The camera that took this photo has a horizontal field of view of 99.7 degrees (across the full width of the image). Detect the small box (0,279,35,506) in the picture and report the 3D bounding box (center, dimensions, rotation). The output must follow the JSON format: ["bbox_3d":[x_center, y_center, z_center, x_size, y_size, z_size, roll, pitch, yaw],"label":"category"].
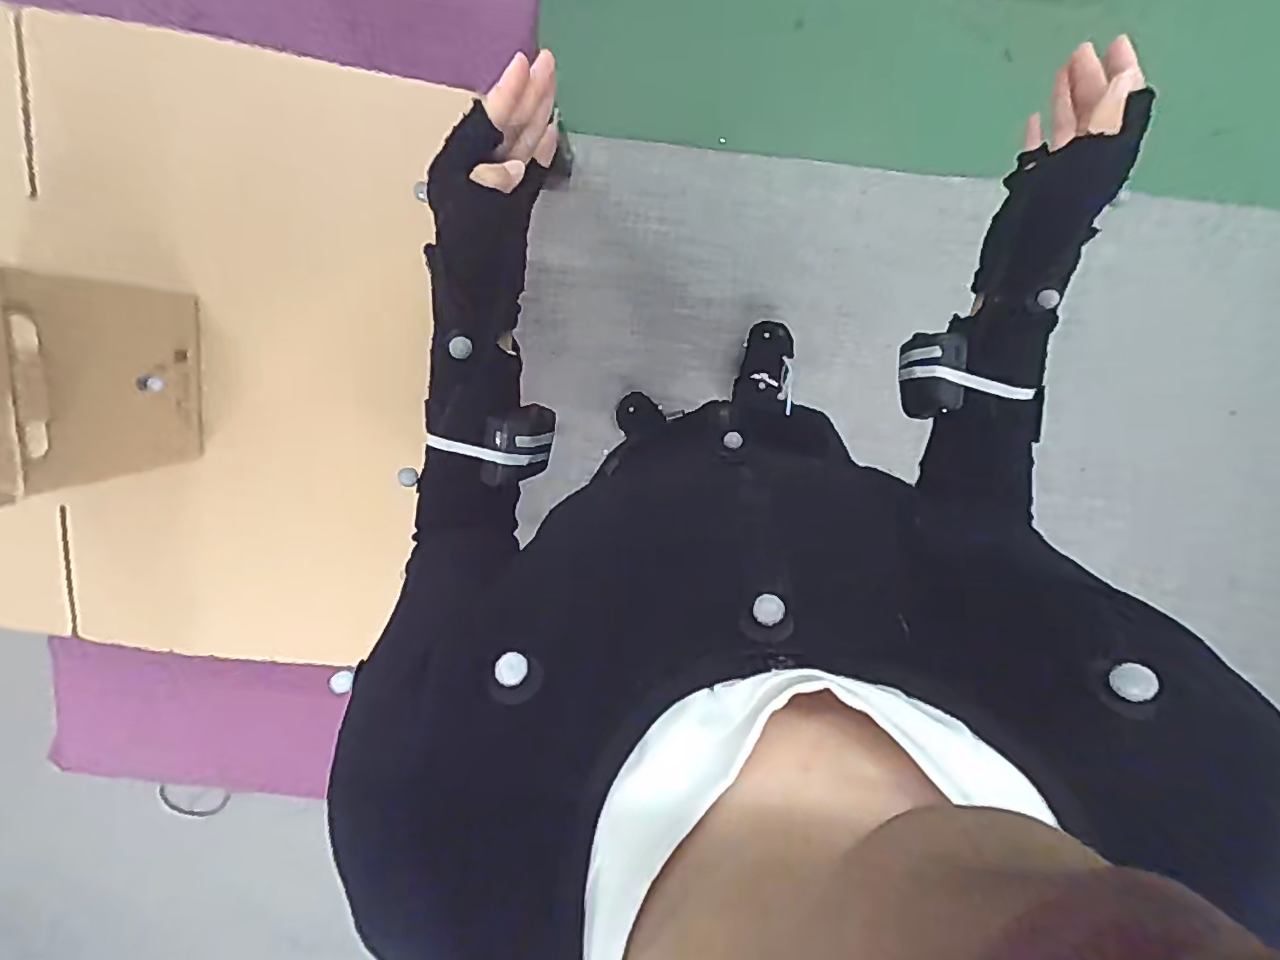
[{"bbox_3d":[-0.519,-0.054,0.302,0.179,0.176,0.168,6,102,0],"label":"small box"}]

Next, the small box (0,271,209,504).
[{"bbox_3d":[-0.521,-0.089,0.462,0.179,0.176,0.168,9,103,0],"label":"small box"}]
